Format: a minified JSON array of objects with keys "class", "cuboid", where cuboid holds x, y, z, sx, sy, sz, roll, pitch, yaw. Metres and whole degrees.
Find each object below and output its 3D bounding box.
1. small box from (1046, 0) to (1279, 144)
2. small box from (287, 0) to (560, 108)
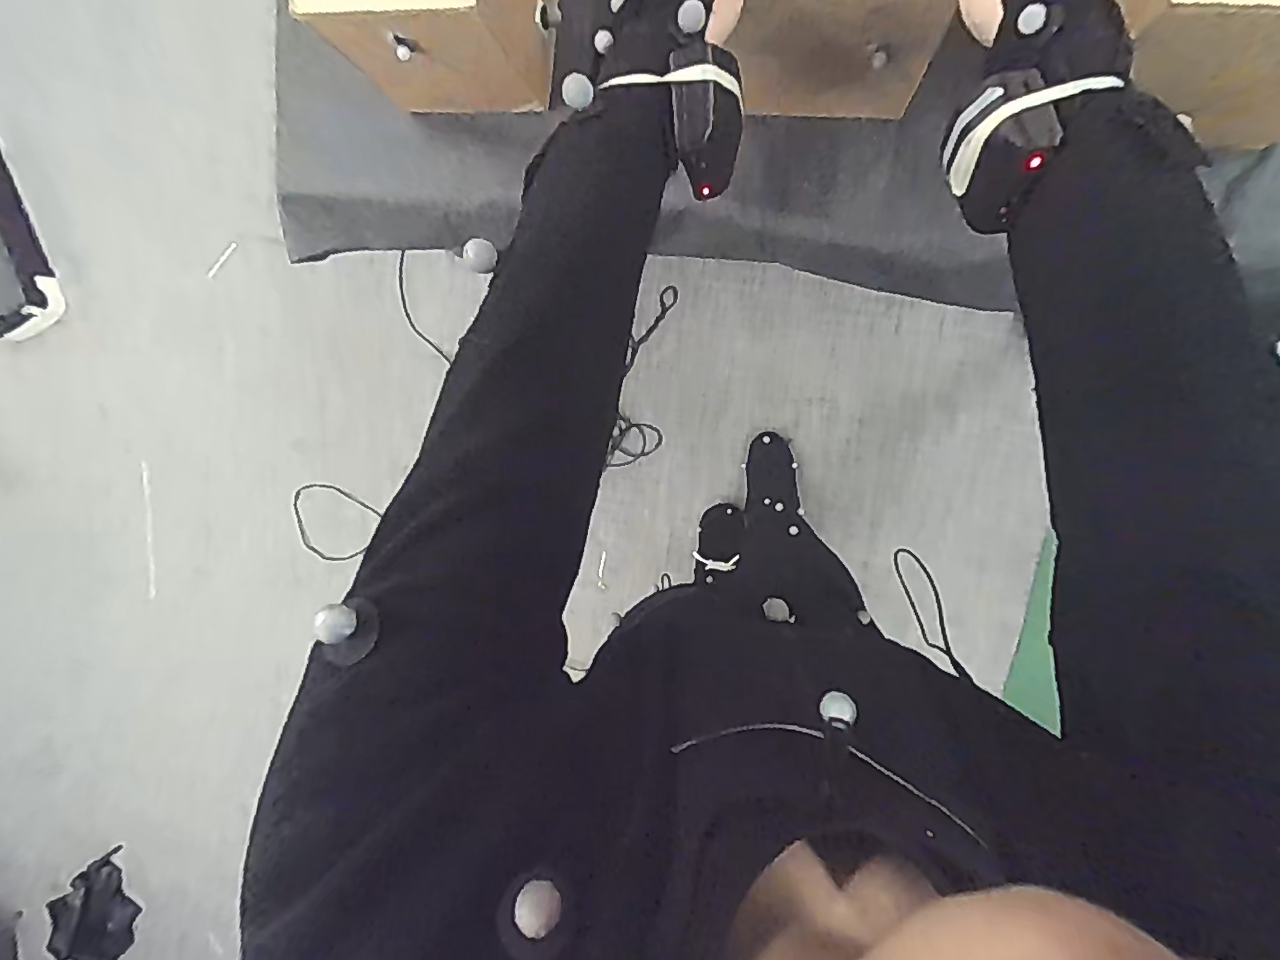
[{"class":"small box","cuboid":[0.436,-0.364,0.381,0.179,0.176,0.168,11,100,11]},{"class":"small box","cuboid":[-0.186,-0.474,0.500,0.179,0.176,0.168,8,101,10]}]
